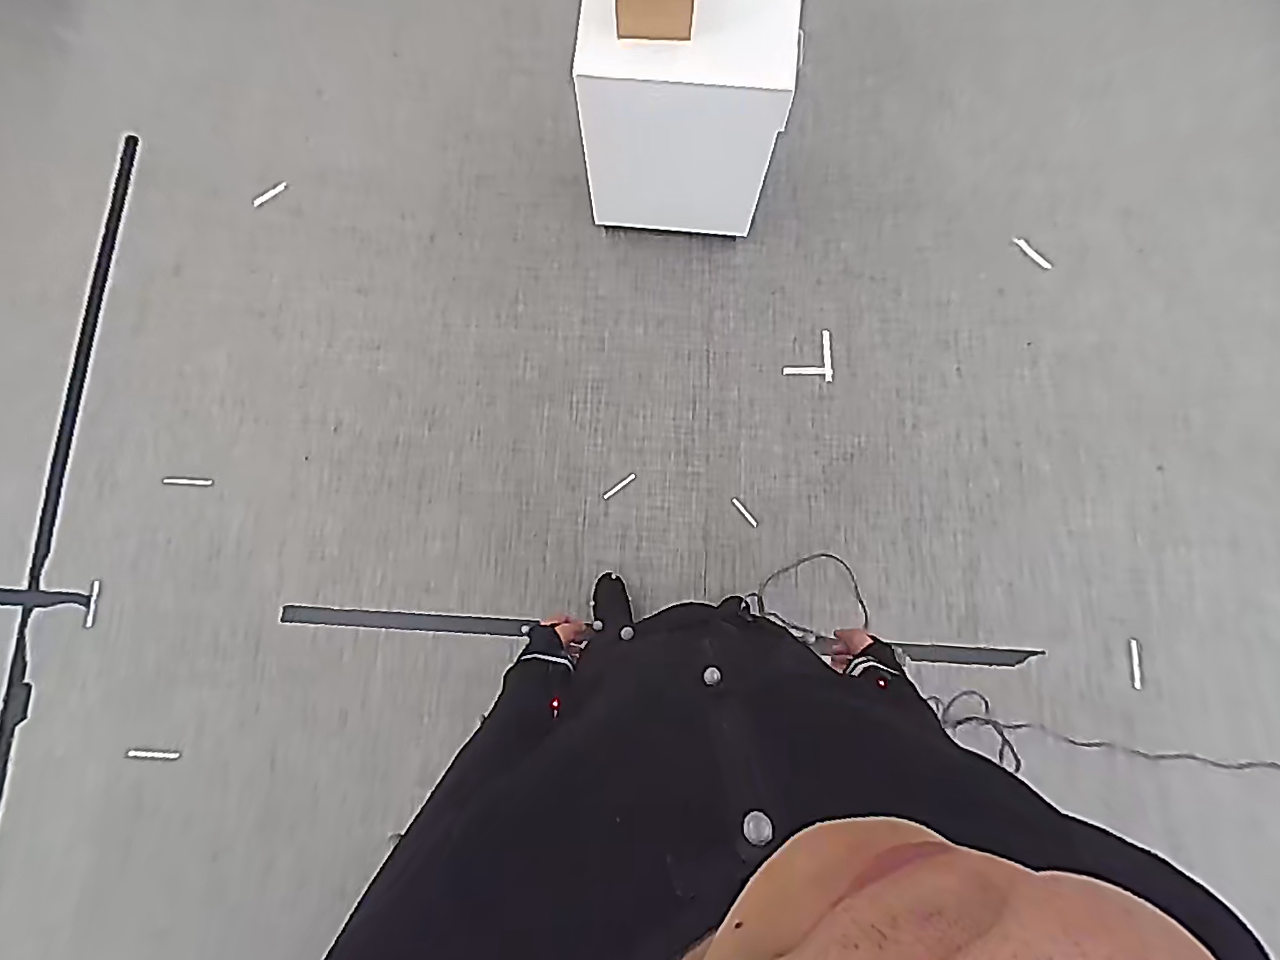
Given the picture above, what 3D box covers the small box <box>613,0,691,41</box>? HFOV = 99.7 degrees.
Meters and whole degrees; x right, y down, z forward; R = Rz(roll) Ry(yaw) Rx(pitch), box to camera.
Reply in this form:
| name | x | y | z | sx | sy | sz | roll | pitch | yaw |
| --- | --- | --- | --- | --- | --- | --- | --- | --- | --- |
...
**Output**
| name | x | y | z | sx | sy | sz | roll | pitch | yaw |
| --- | --- | --- | --- | --- | --- | --- | --- | --- | --- |
| small box | 0.029 | -1.122 | 1.200 | 0.179 | 0.176 | 0.168 | 3 | 81 | 0 |
